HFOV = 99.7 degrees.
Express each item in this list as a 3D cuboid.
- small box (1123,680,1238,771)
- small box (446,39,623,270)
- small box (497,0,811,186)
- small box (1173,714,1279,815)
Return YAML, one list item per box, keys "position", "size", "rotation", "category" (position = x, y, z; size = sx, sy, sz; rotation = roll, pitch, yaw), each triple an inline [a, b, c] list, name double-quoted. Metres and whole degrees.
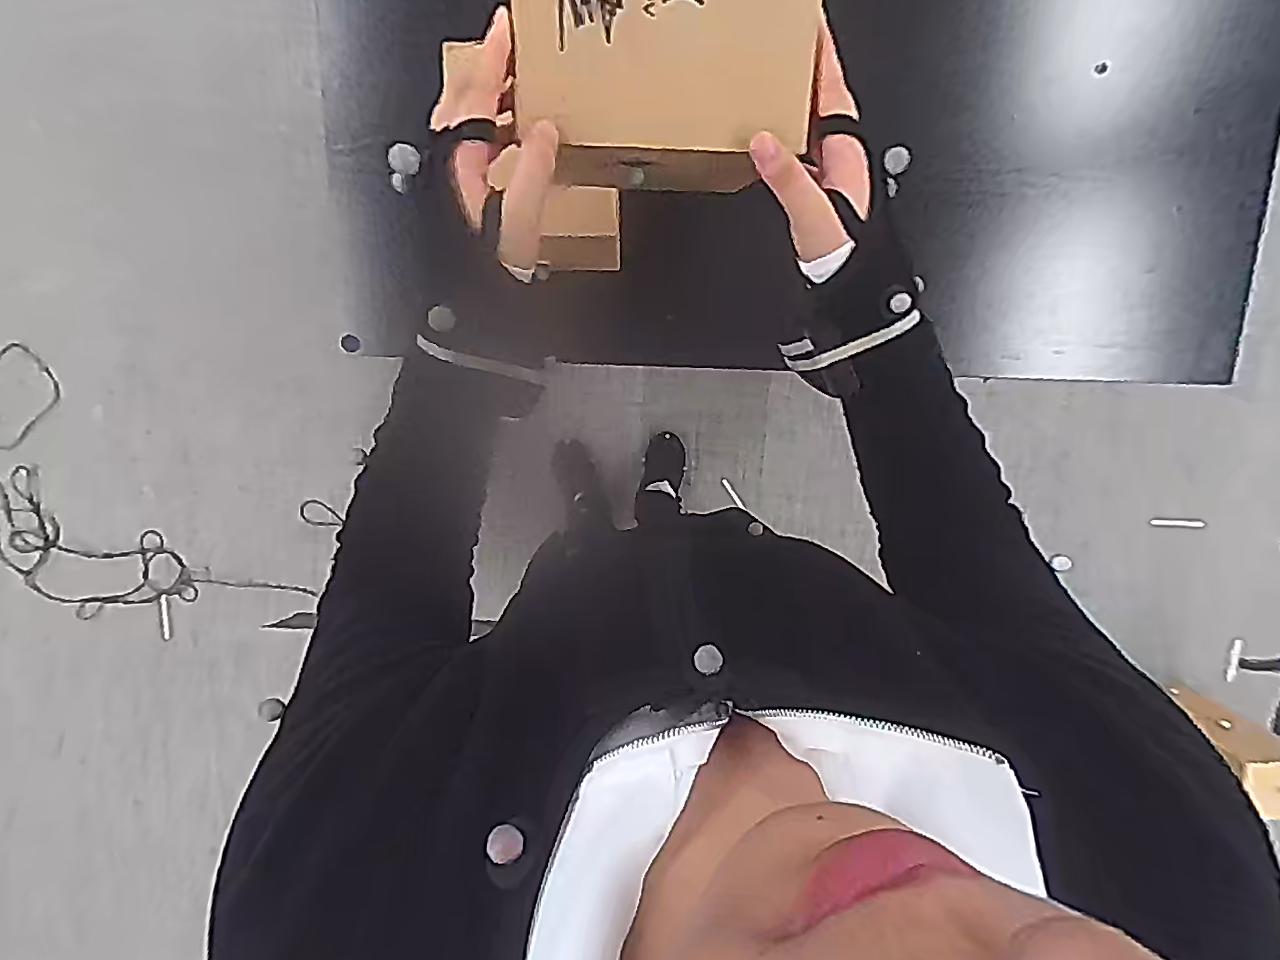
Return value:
- position: [1.560, 0.707, 1.570]
  size: [0.168, 0.176, 0.179]
  rotation: [-4, 100, -1]
  category: "small box"
- position: [-0.104, -0.345, 0.604]
  size: [0.168, 0.176, 0.179]
  rotation: [-1, 101, 0]
  category: "small box"
- position: [0.002, -0.304, 0.366]
  size: [0.179, 0.176, 0.168]
  rotation: [-2, 111, -7]
  category: "small box"
- position: [1.555, 0.734, 1.409]
  size: [0.179, 0.176, 0.168]
  rotation: [-5, 100, 0]
  category: "small box"
